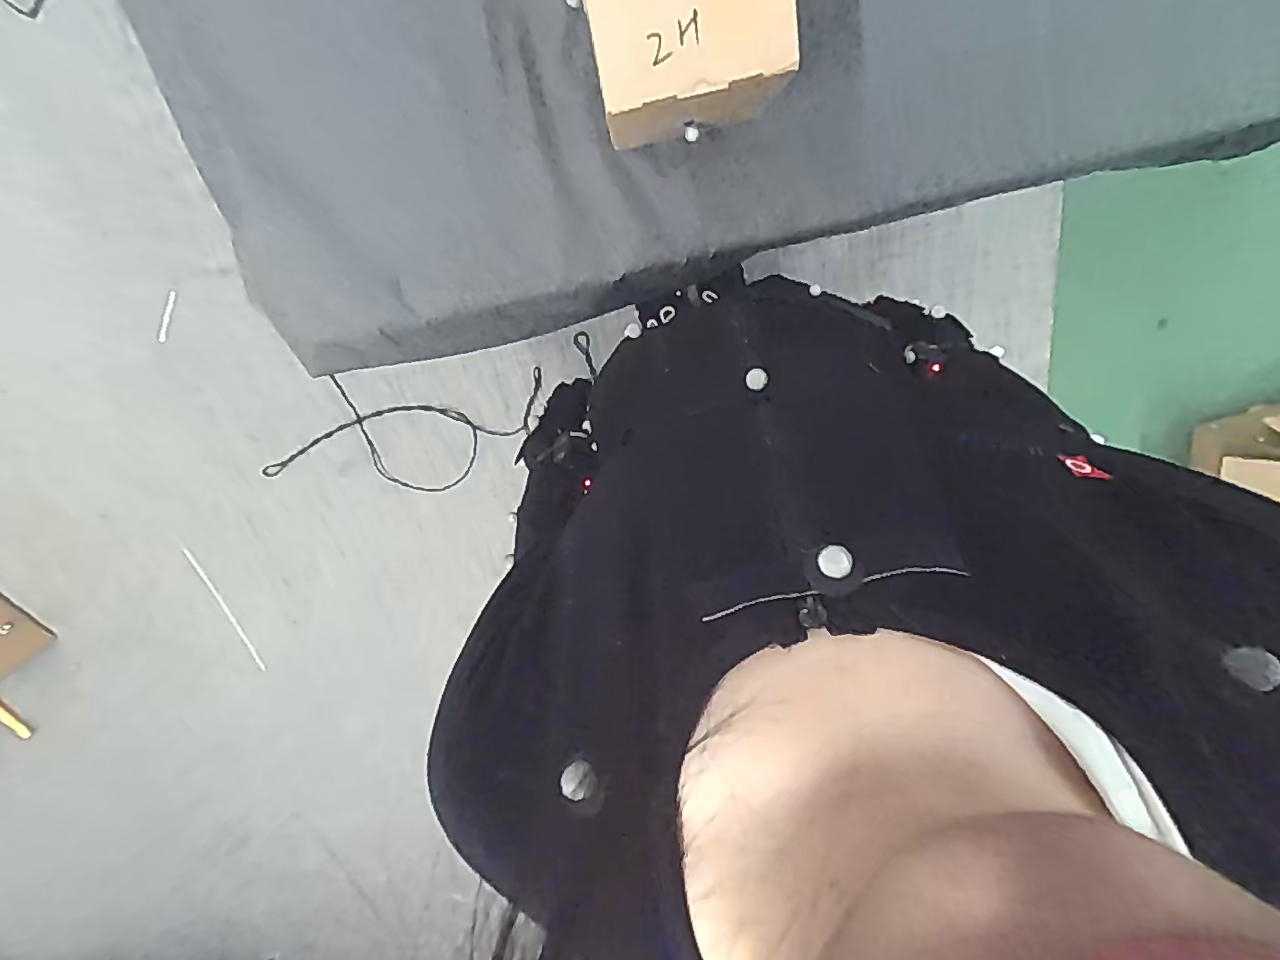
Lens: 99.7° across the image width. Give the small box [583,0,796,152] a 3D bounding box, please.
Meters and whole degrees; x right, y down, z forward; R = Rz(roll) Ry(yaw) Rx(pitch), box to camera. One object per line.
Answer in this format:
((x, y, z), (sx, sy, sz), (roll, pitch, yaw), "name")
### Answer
((0.034, -0.431, 0.498), (0.168, 0.176, 0.179), (-11, 112, 5), "small box")
